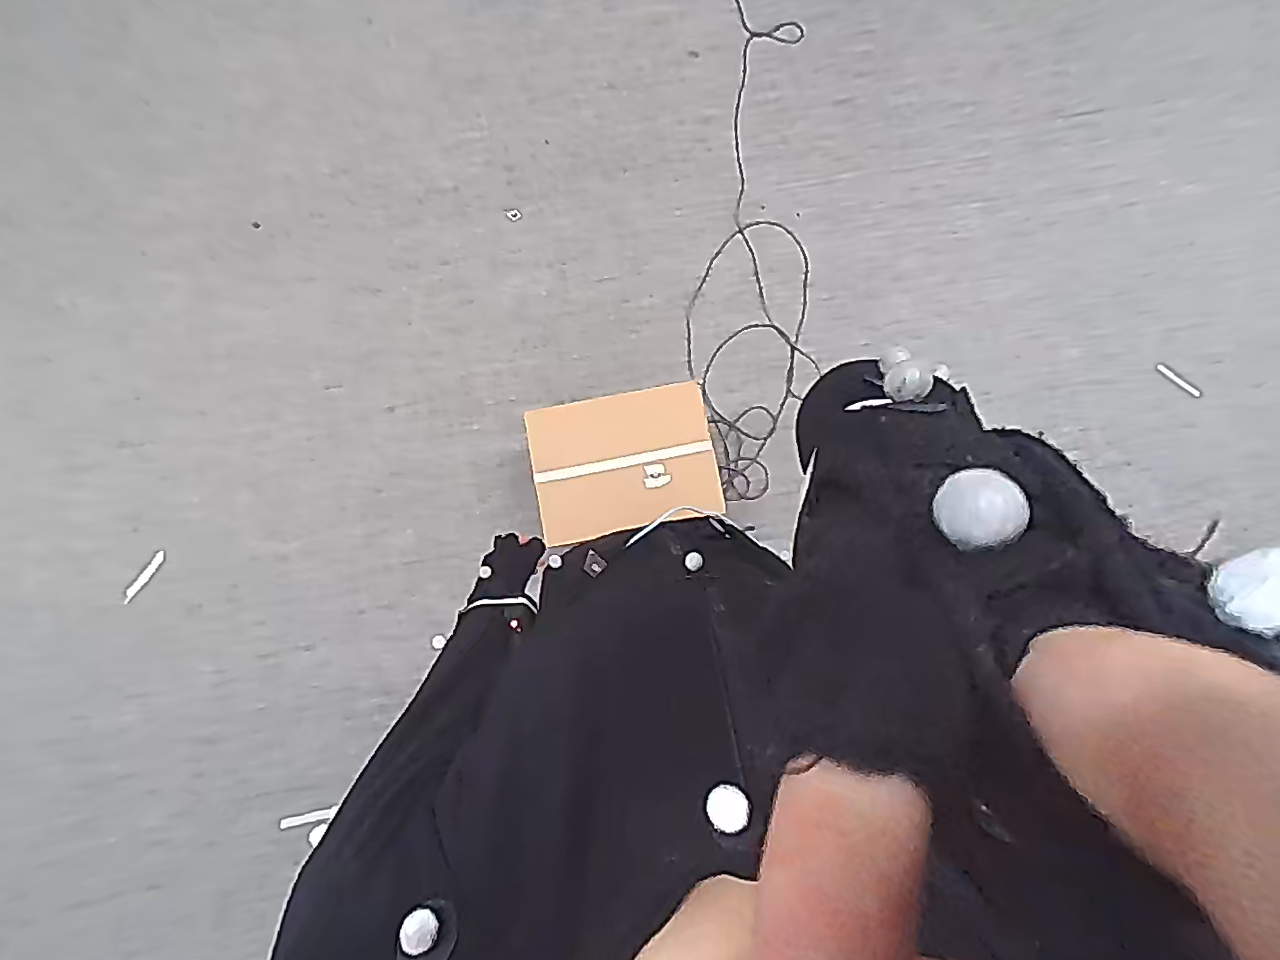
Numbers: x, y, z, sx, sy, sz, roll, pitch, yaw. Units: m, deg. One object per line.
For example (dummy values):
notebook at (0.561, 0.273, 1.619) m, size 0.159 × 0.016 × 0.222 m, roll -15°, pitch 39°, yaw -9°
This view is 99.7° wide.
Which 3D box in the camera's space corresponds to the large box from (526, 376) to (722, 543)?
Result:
large box at (-0.039, -0.032, 1.361) m, size 0.408 × 0.320 × 0.320 m, roll -10°, pitch 83°, yaw -1°
